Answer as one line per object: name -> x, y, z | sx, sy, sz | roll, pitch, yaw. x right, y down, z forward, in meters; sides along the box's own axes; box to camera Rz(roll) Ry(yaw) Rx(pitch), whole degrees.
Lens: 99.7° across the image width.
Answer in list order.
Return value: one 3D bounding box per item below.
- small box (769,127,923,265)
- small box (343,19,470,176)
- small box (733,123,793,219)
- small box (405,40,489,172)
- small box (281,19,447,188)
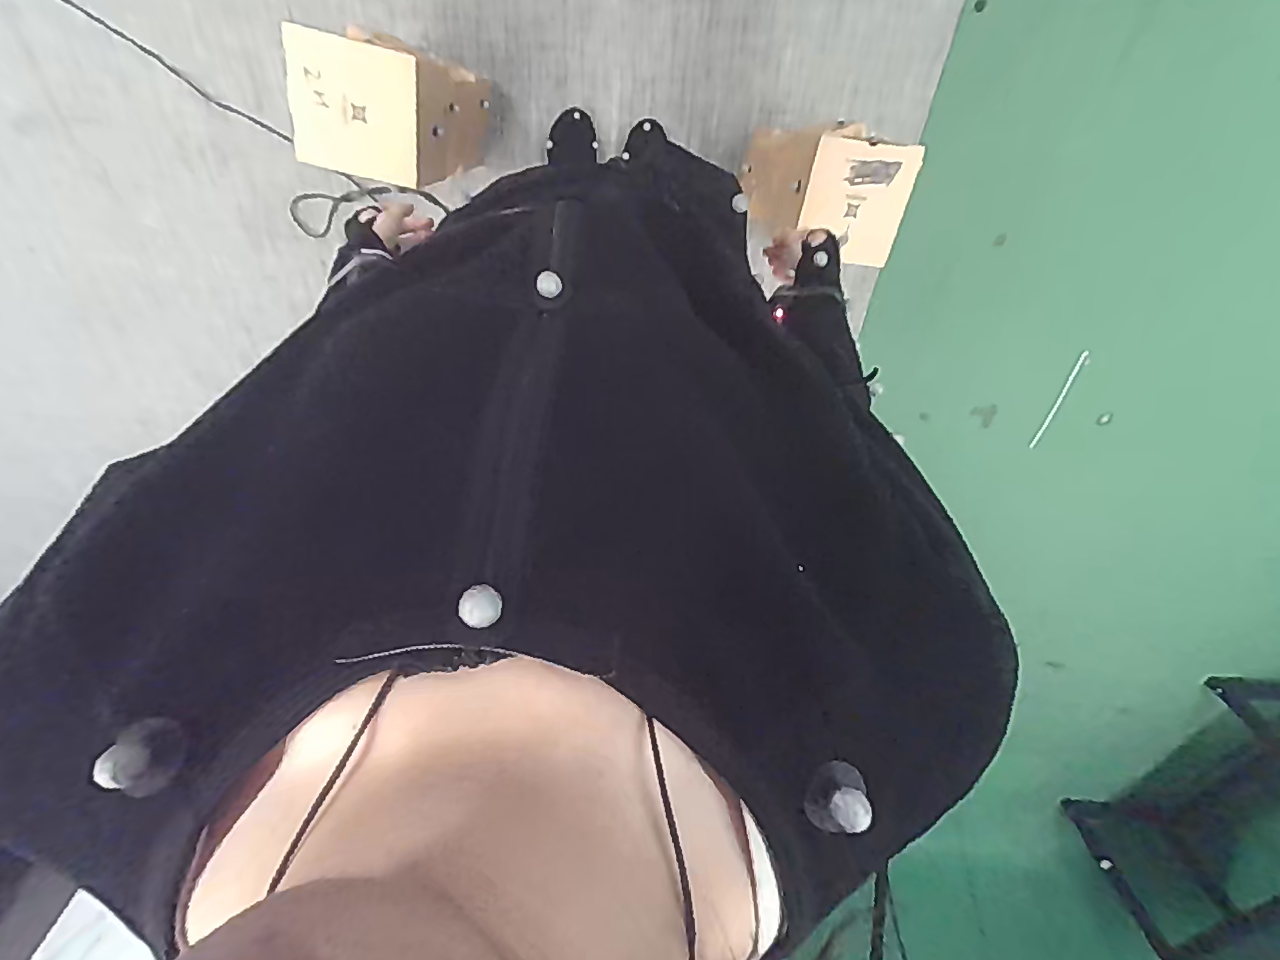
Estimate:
small box -> 0.329, -0.480, 0.908 | 0.168, 0.176, 0.179 | 4, 126, -6
small box -> -0.417, -0.661, 0.959 | 0.168, 0.176, 0.179 | 22, 121, -15
small box -> 0.318, -0.662, 1.182 | 0.179, 0.176, 0.168 | 12, 124, -10
small box -> -0.413, -0.753, 1.091 | 0.168, 0.176, 0.179 | 16, 123, -12
small box -> -0.404, -0.565, 0.824 | 0.179, 0.176, 0.168 | 10, 123, -8
